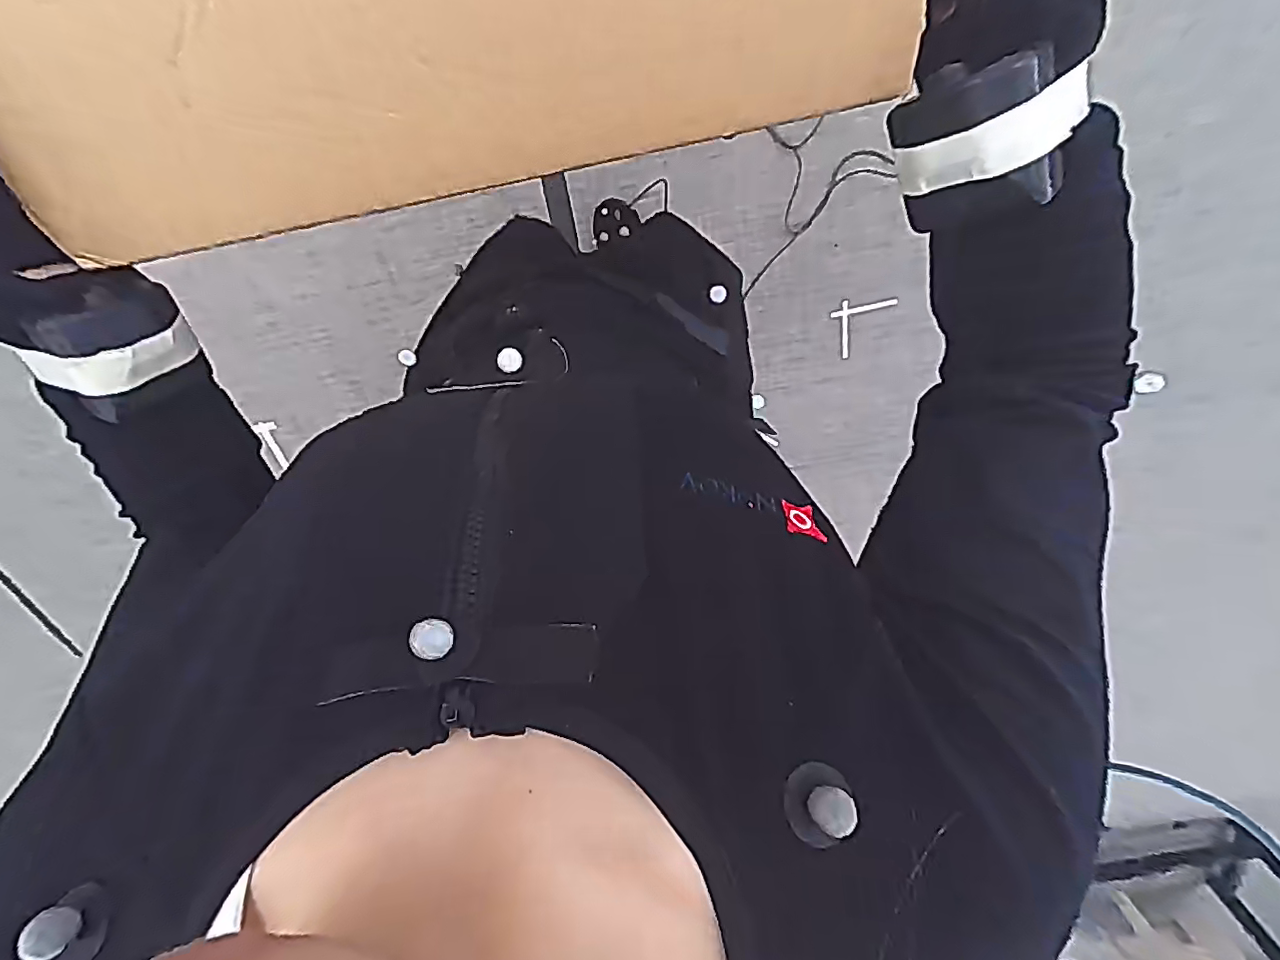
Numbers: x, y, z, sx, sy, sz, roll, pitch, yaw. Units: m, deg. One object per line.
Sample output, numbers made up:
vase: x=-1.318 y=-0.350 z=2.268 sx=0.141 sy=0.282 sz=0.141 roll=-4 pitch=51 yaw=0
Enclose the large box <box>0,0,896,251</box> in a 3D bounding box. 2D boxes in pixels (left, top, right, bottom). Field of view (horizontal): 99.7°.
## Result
large box: x=-0.117 y=-0.360 z=0.252 sx=0.408 sy=0.320 sz=0.320 roll=-9 pitch=136 yaw=4
